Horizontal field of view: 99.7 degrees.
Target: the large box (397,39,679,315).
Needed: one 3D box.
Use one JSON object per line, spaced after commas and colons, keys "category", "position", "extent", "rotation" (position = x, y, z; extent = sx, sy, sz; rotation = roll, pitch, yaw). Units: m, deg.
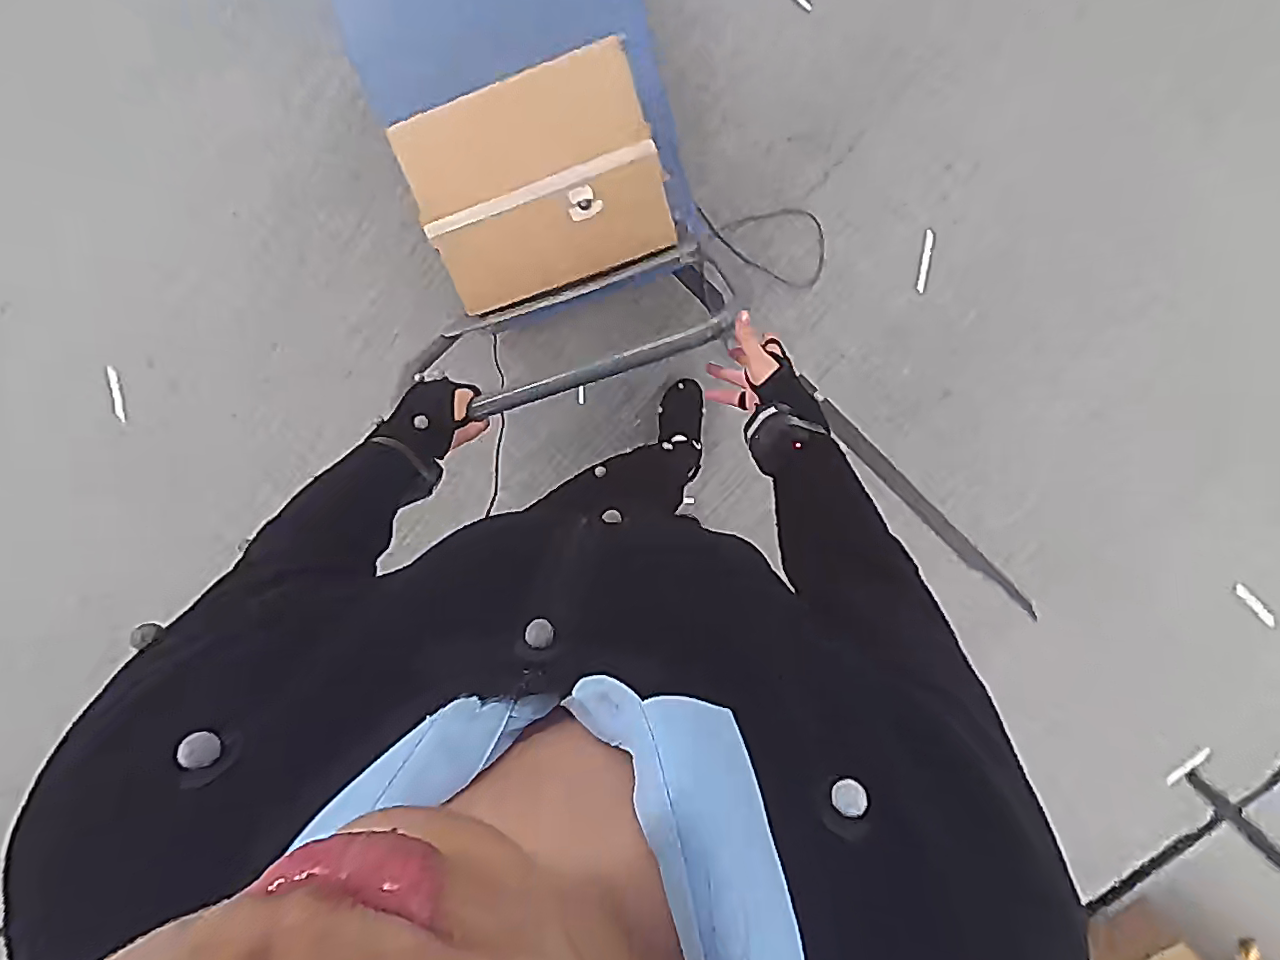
{"category": "large box", "position": [-0.171, -0.554, 1.054], "extent": [0.408, 0.320, 0.320], "rotation": [-18, 114, 5]}
